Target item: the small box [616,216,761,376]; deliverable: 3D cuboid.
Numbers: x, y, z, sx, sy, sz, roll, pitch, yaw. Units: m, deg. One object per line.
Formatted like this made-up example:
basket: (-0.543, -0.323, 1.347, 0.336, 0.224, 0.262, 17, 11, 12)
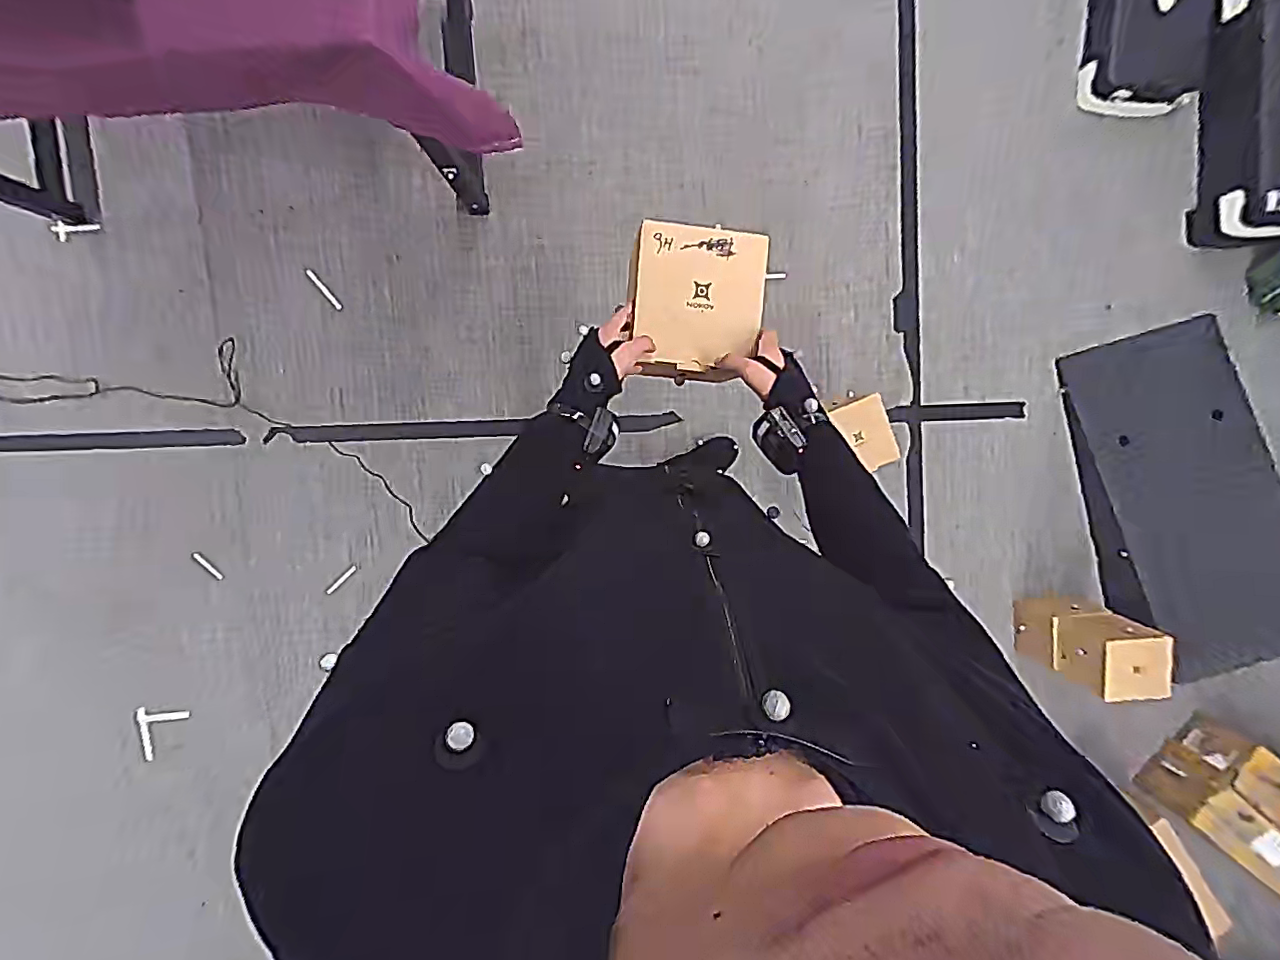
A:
small box: (0.057, -0.245, 0.765, 0.168, 0.176, 0.179, 4, 96, -7)
